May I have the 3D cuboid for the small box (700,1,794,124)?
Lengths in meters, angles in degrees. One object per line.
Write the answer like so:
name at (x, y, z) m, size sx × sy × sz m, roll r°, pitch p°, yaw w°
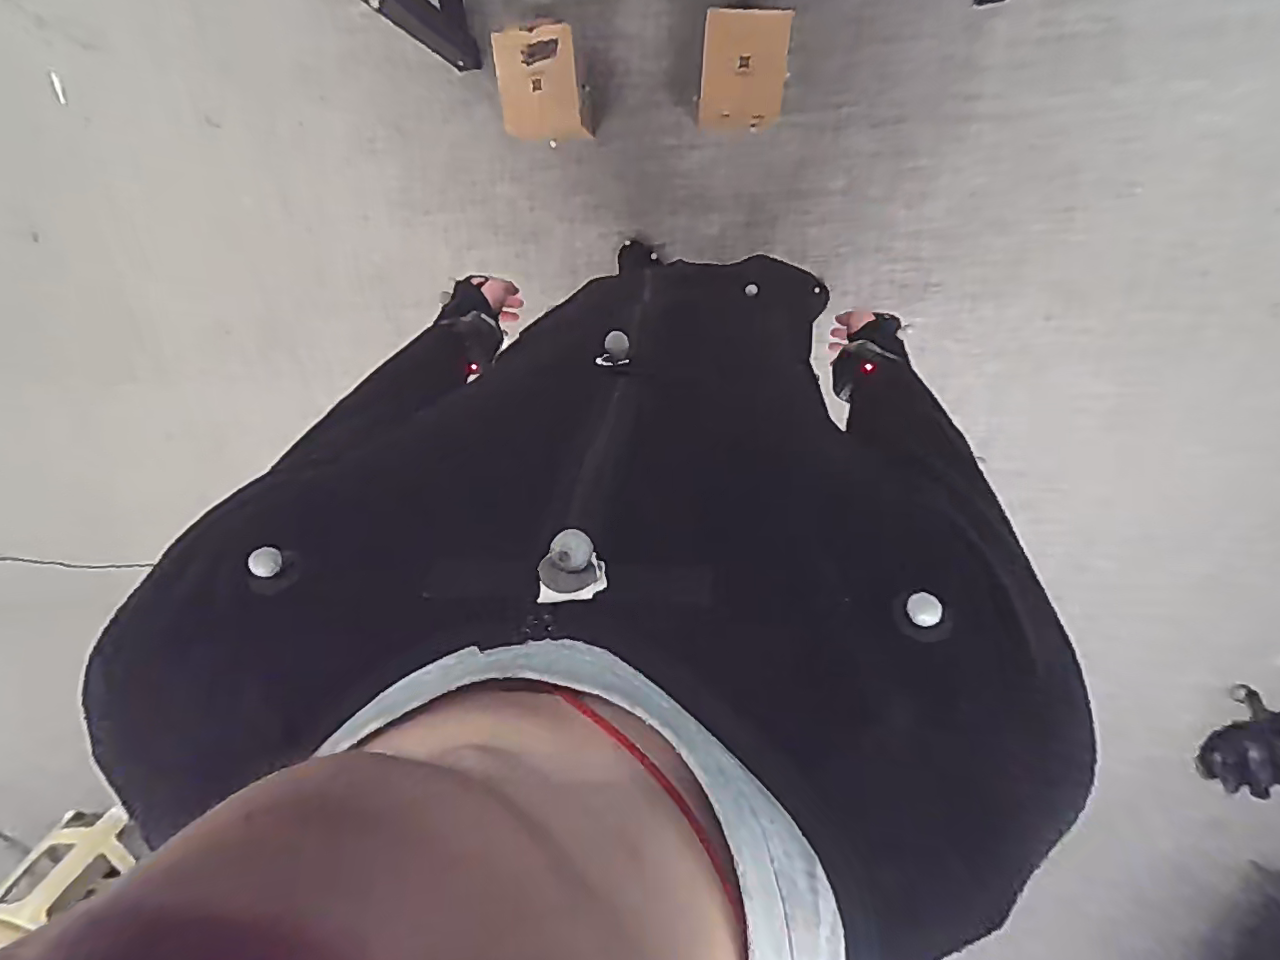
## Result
small box at (0.214, -0.859, 1.127) m, size 0.168 × 0.176 × 0.179 m, roll 2°, pitch 114°, yaw 3°

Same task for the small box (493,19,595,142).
small box at (-0.198, -0.851, 1.168) m, size 0.168 × 0.176 × 0.179 m, roll -3°, pitch 115°, yaw 7°
